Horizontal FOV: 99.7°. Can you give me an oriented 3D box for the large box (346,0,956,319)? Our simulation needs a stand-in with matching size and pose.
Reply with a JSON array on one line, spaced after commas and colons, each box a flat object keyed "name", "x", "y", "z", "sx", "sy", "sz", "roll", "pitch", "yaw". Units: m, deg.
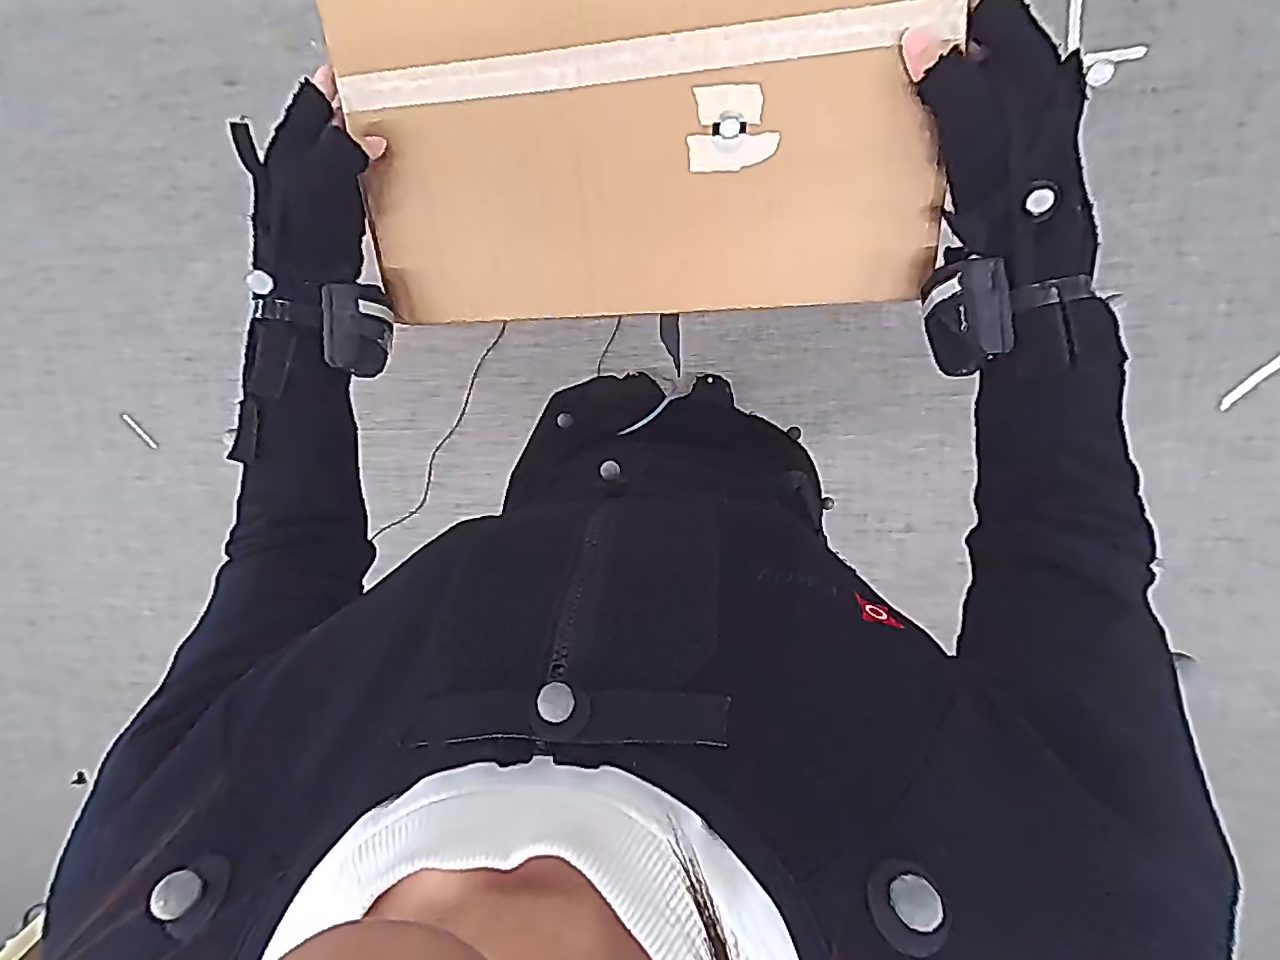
[{"name": "large box", "x": 0.016, "y": -0.334, "z": 0.497, "sx": 0.408, "sy": 0.320, "sz": 0.320, "roll": -1, "pitch": 112, "yaw": 9}]
